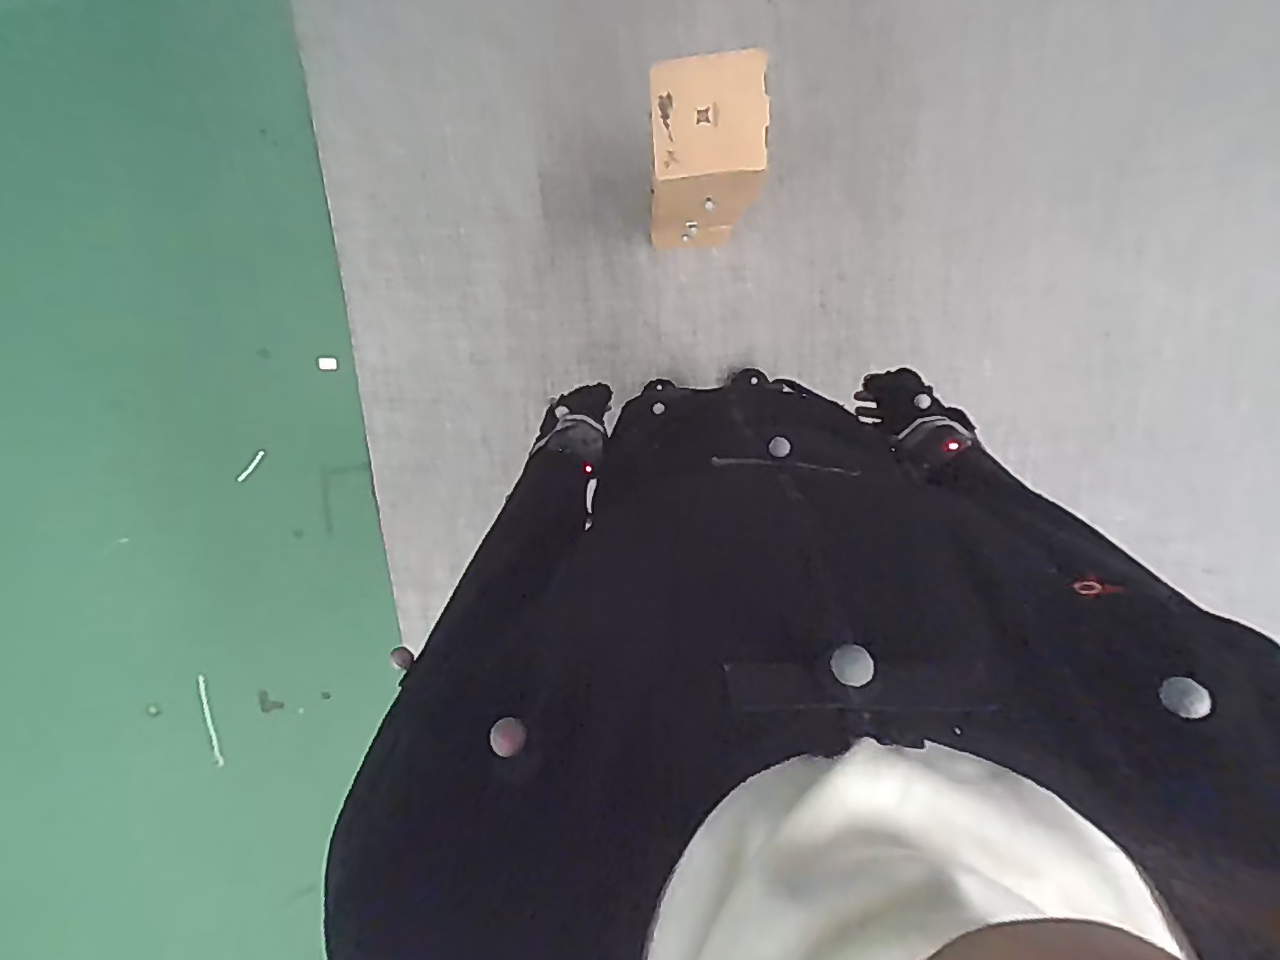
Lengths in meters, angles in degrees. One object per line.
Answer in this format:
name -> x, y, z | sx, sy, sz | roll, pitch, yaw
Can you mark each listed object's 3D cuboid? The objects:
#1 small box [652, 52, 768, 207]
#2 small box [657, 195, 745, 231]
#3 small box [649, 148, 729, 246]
small box -> 0.112, -0.572, 0.905 | 0.179, 0.176, 0.168 | -2, 101, 5
small box -> 0.116, -0.609, 1.066 | 0.168, 0.176, 0.179 | -2, 102, 6
small box -> 0.114, -0.636, 1.225 | 0.179, 0.176, 0.168 | -1, 102, 4
